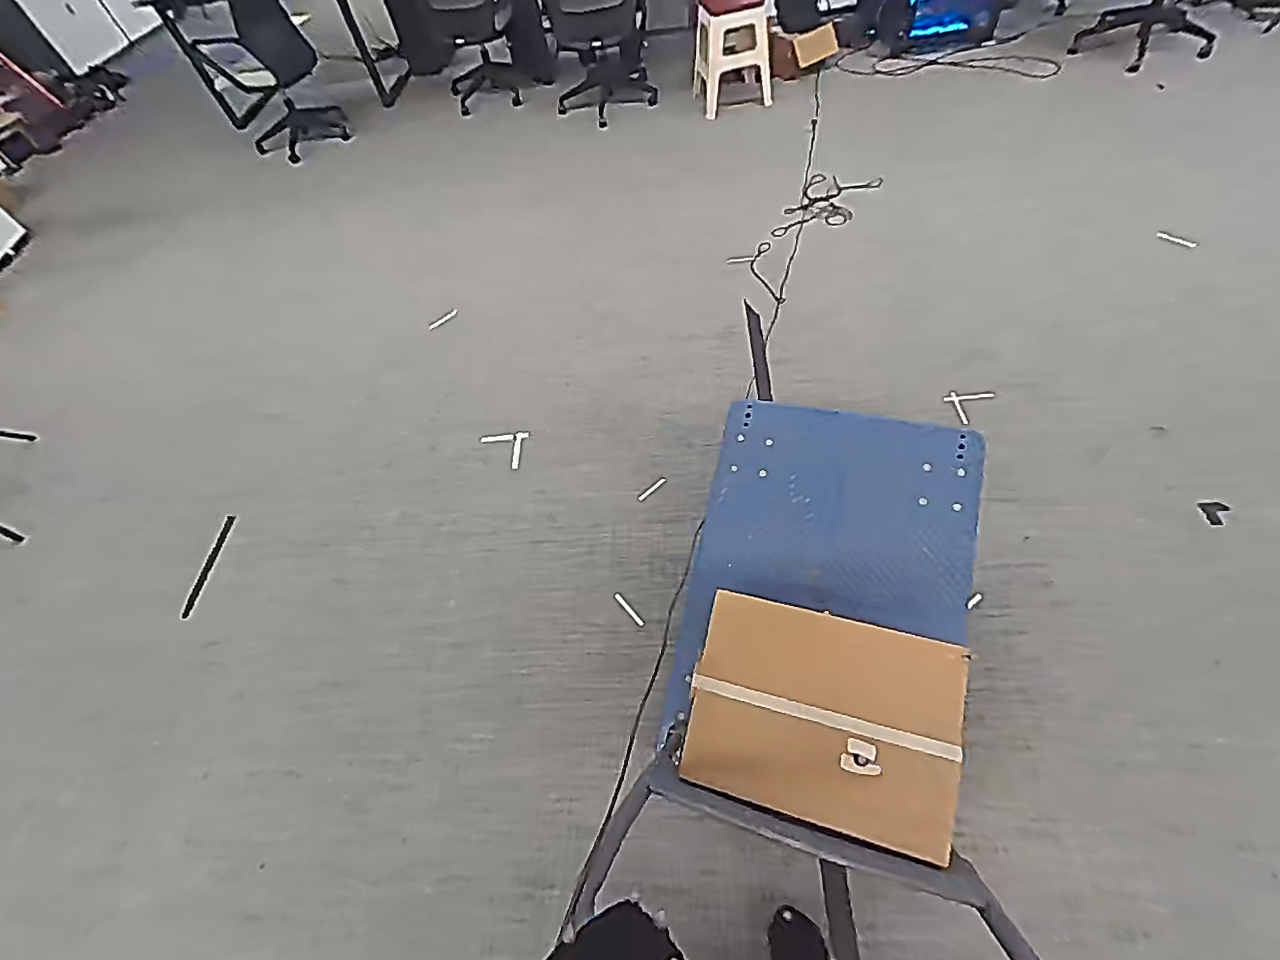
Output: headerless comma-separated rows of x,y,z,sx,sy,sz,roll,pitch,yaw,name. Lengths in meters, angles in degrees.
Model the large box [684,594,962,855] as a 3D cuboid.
0.322,0.421,1.021,0.408,0.320,0.320,11,77,15,large box
